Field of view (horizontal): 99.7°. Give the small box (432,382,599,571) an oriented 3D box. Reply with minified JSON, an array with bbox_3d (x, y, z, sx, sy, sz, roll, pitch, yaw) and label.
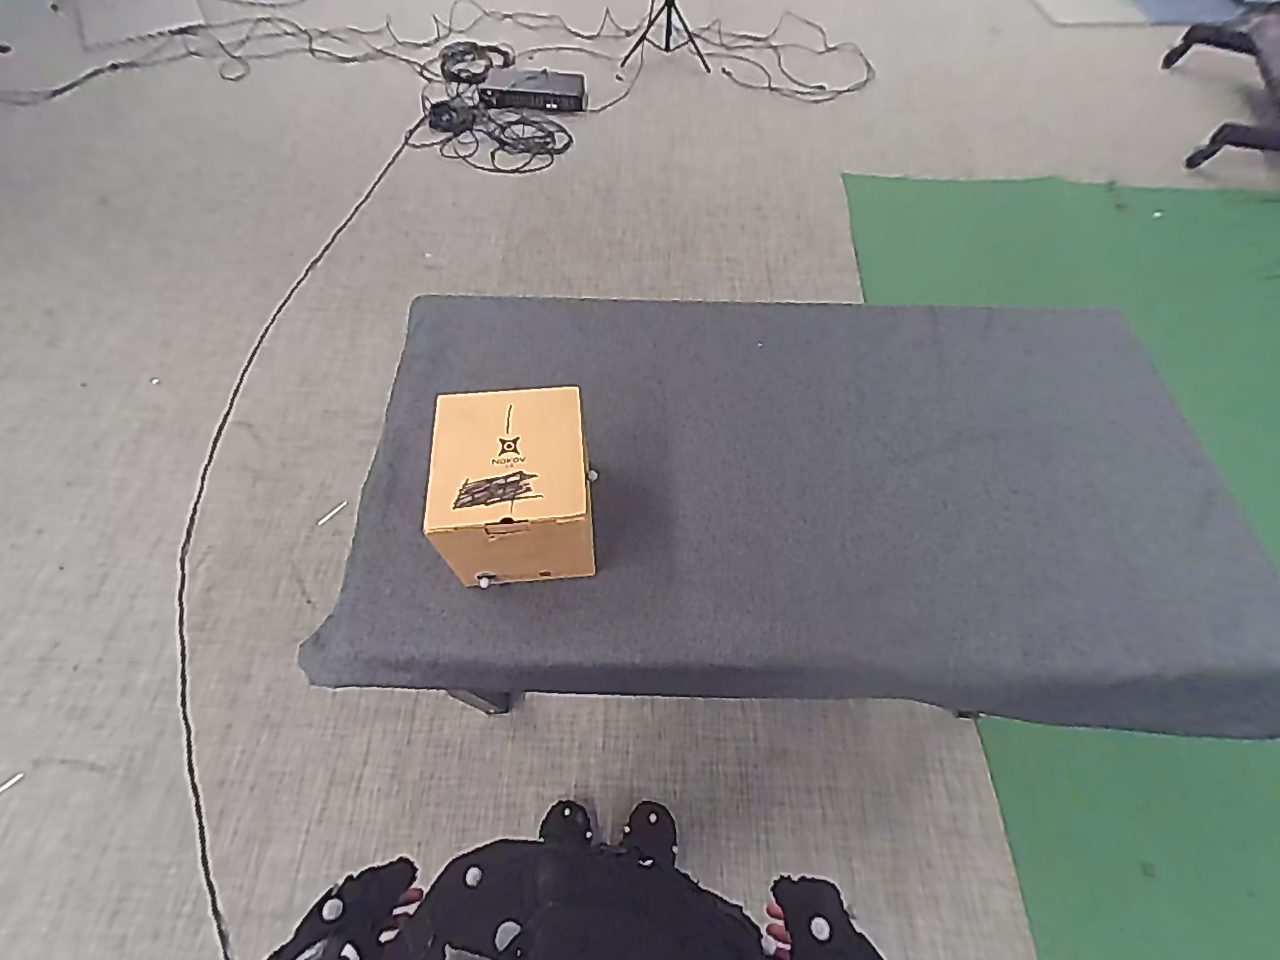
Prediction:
[{"bbox_3d":[-0.140,0.005,0.664,0.168,0.176,0.179,-5,60,-4],"label":"small box"}]
